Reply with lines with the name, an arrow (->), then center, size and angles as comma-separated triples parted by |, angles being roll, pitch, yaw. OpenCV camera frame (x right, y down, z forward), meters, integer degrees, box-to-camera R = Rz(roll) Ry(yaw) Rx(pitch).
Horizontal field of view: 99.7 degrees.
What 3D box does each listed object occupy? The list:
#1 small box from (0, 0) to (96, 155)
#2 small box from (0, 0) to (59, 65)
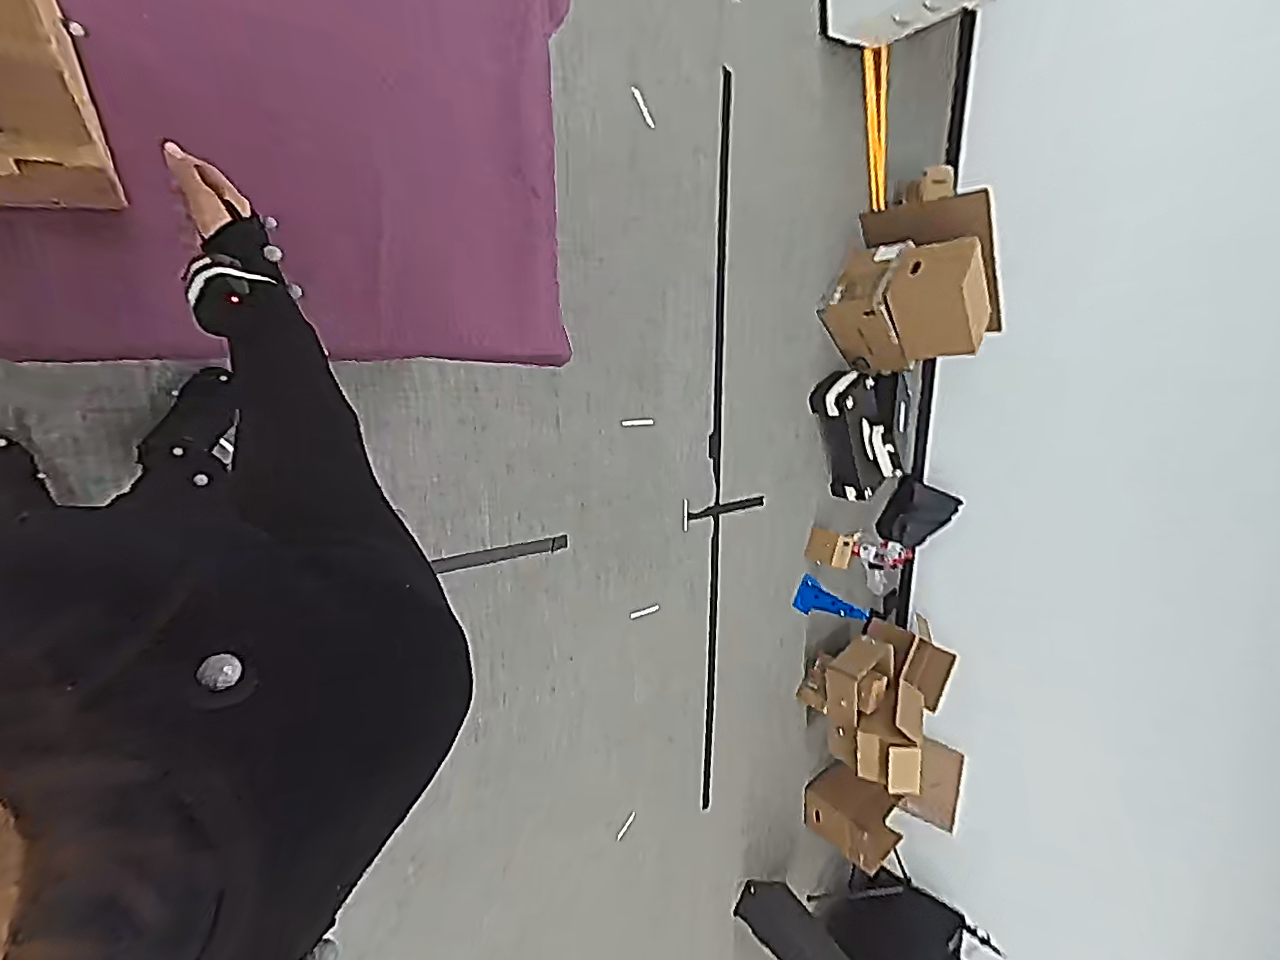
small box -> -0.505, -0.346, 0.356 | 0.168, 0.176, 0.179 | -16, 109, -36
small box -> -0.405, -0.319, 0.230 | 0.168, 0.176, 0.179 | -20, 109, -35
